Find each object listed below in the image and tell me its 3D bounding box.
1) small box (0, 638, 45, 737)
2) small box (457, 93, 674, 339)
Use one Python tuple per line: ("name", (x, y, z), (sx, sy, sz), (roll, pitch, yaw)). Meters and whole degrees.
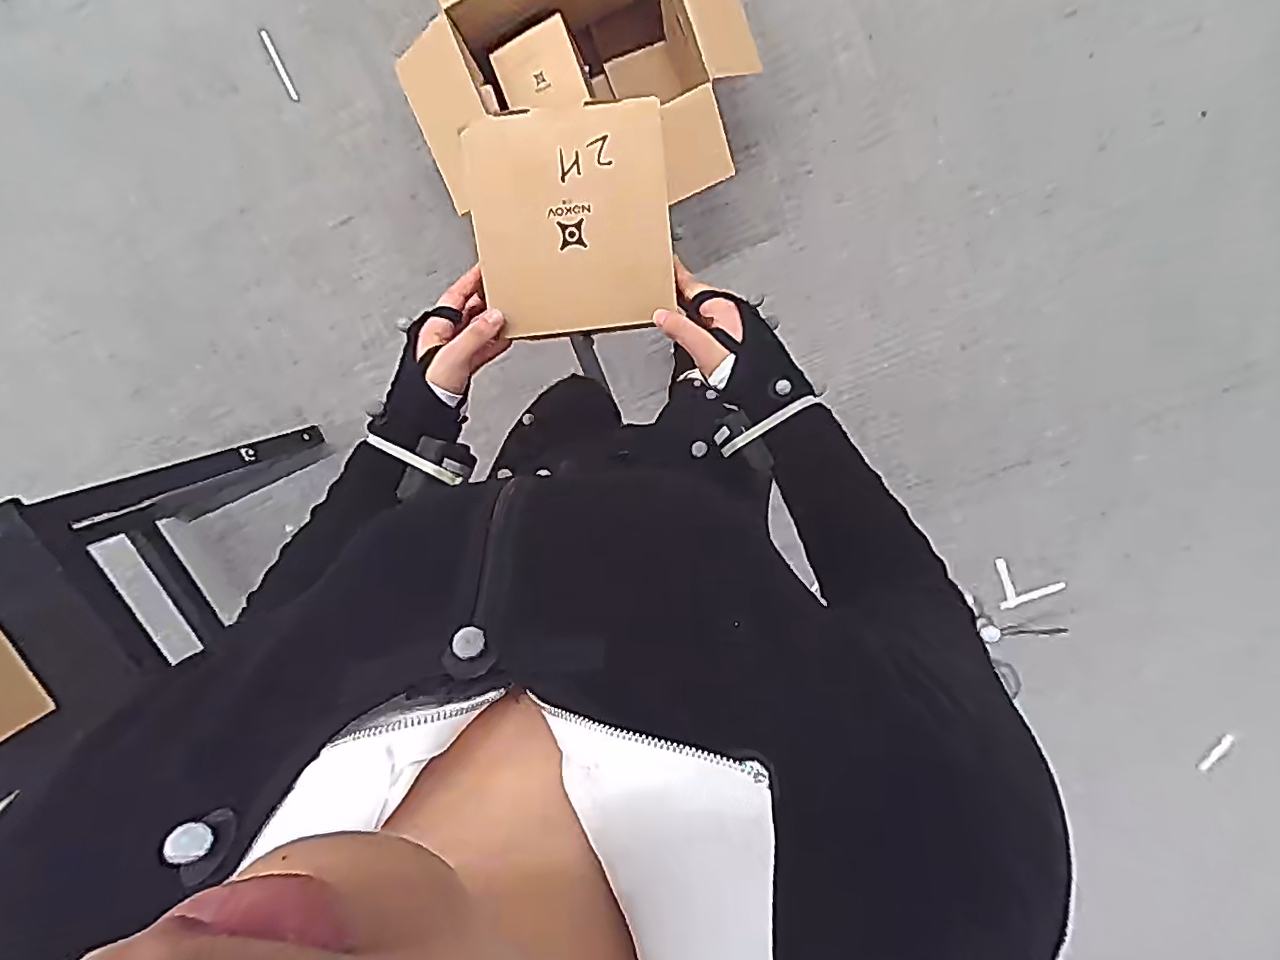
("small box", (-1.079, 0.343, 0.807), (0.168, 0.176, 0.179), (-18, 104, 8))
("small box", (-0.058, -0.236, 0.526), (0.168, 0.176, 0.179), (-6, 104, 0))
